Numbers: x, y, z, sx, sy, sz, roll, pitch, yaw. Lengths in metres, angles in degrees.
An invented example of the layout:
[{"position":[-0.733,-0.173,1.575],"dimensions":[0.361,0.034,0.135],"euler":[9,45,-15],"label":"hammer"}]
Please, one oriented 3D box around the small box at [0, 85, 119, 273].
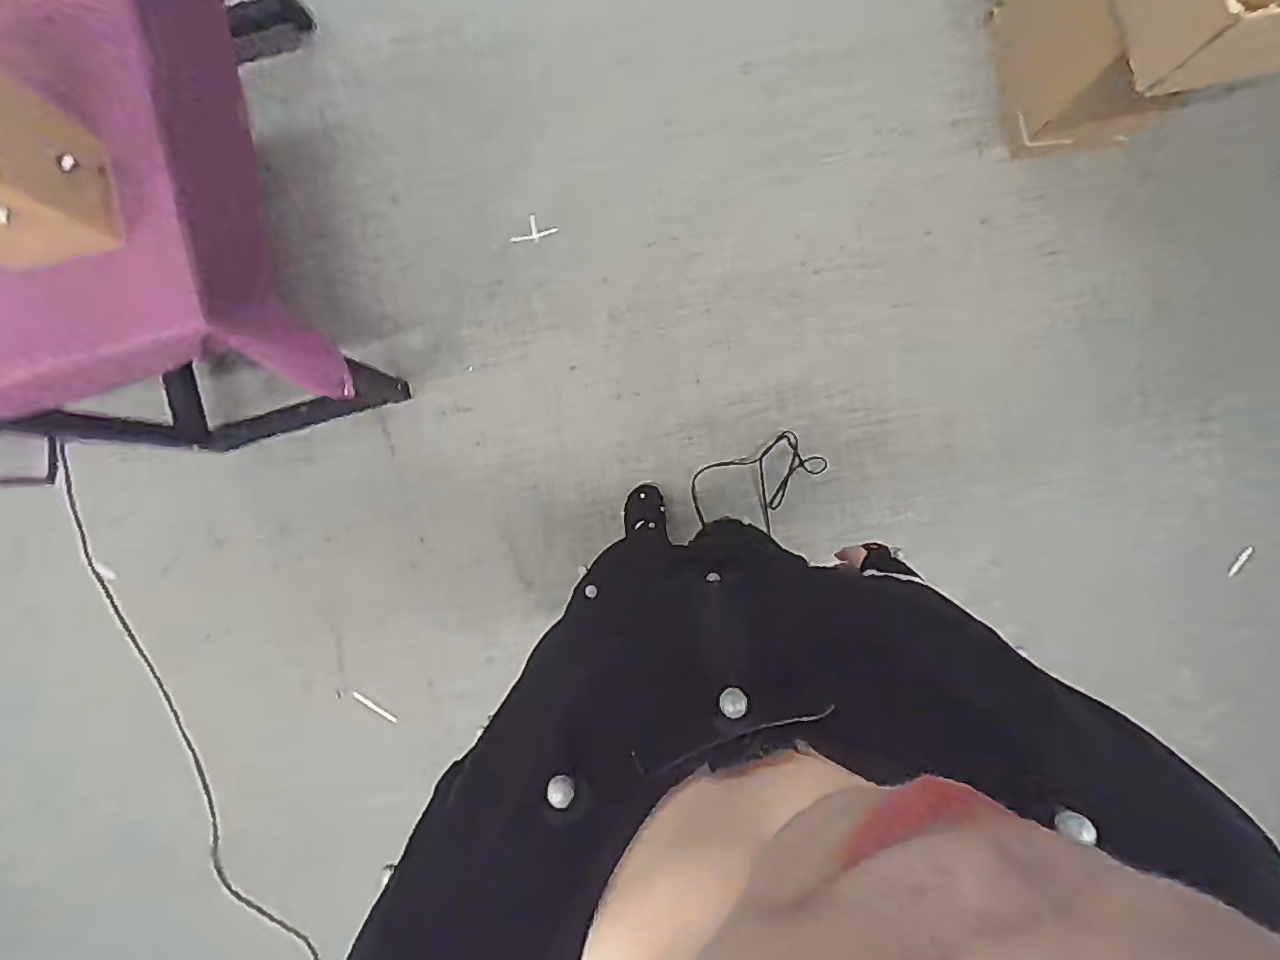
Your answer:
[{"position":[-0.865,-0.407,0.734],"dimensions":[0.179,0.176,0.168],"euler":[-13,88,2],"label":"small box"}]
